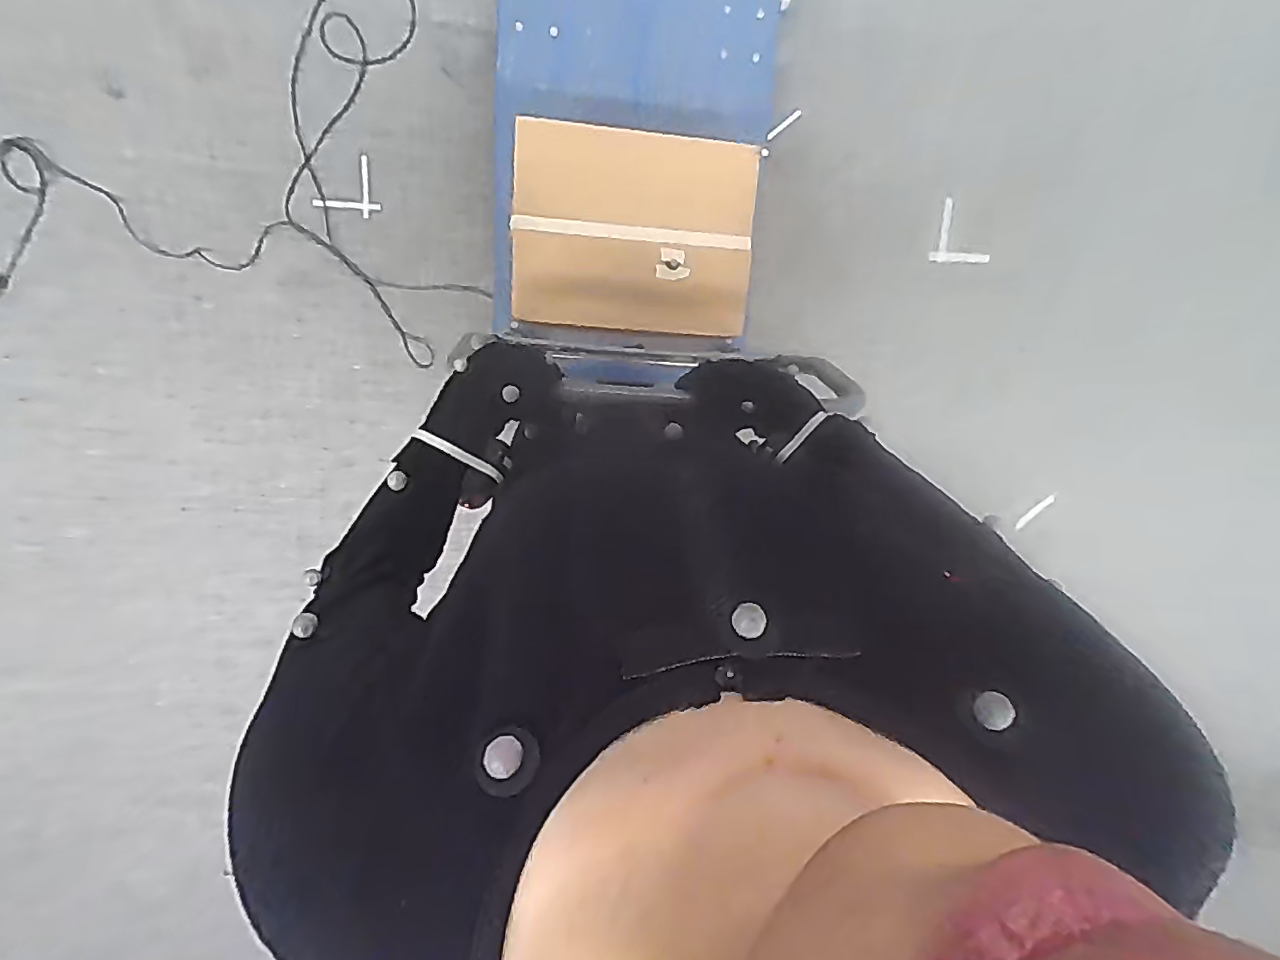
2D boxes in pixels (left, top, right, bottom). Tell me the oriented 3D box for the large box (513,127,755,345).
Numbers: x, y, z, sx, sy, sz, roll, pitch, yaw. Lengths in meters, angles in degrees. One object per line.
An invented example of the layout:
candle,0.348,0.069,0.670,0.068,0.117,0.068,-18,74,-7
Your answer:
large box,-0.030,-0.436,1.054,0.408,0.320,0.320,2,102,-8
